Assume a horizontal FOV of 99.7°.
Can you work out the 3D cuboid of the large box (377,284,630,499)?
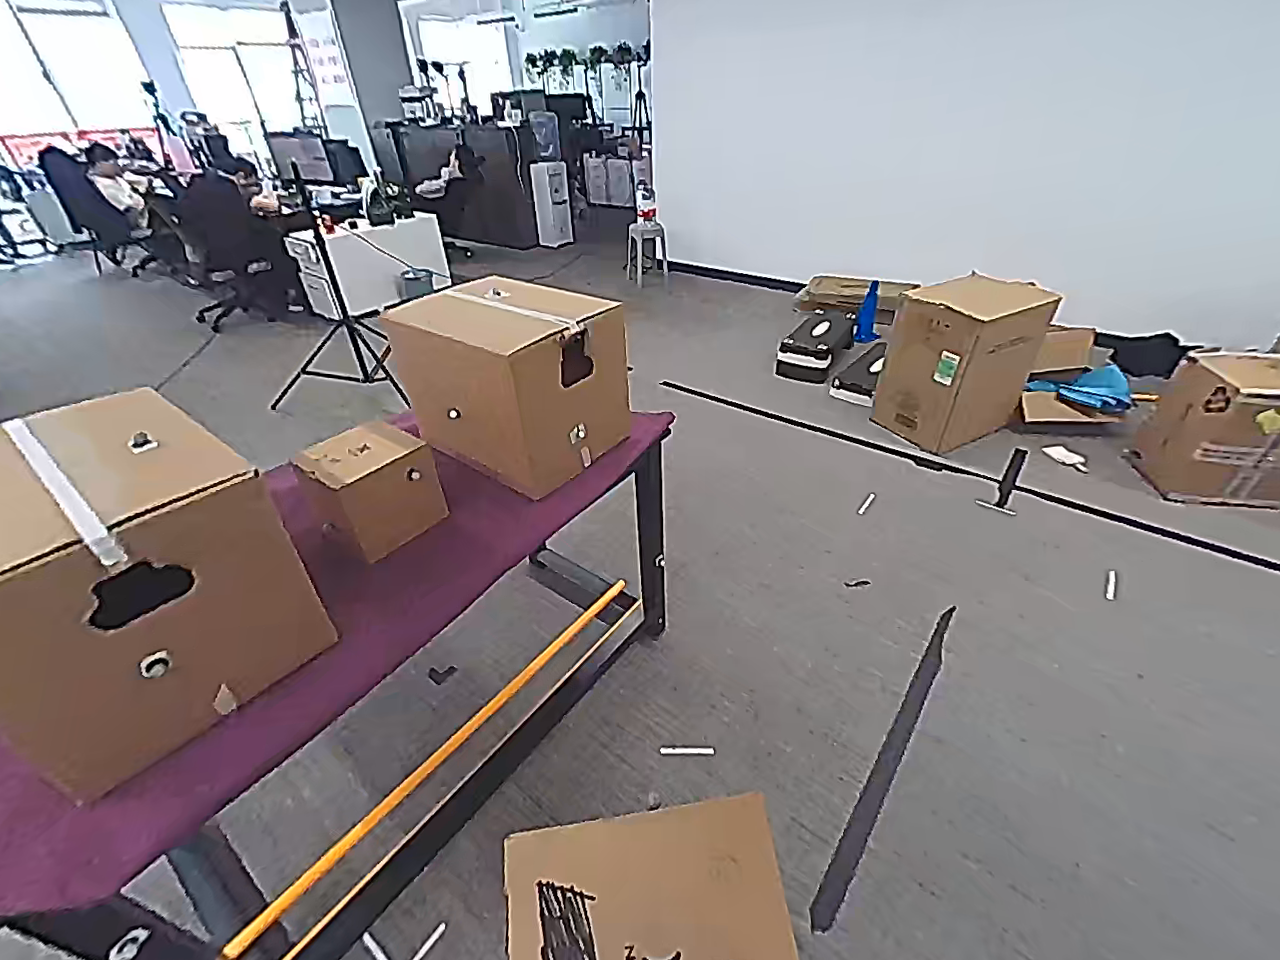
[{"bbox_3d":[-0.277,-0.210,1.177,0.408,0.320,0.320,21,41,31],"label":"large box"}]

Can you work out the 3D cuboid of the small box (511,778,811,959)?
[{"bbox_3d":[0.022,0.321,0.379,0.179,0.176,0.168,-11,56,2],"label":"small box"}]
